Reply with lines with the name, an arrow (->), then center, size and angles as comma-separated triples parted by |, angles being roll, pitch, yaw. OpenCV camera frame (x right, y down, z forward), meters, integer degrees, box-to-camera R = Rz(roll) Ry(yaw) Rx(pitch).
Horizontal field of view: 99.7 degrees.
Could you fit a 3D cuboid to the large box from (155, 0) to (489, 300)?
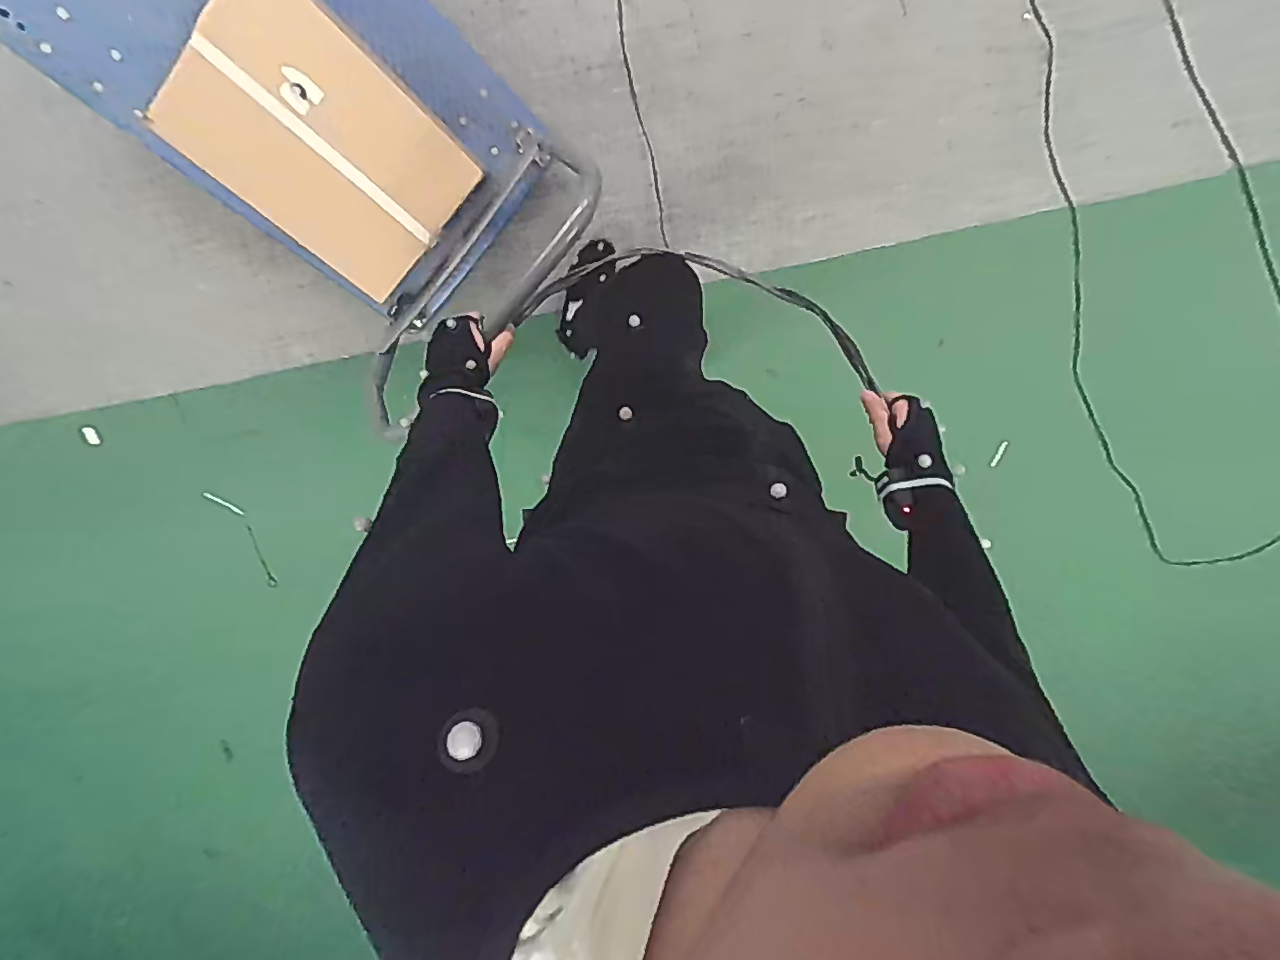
large box -> -0.547, -0.620, 1.028 | 0.320, 0.320, 0.408 | -45, 119, 13
